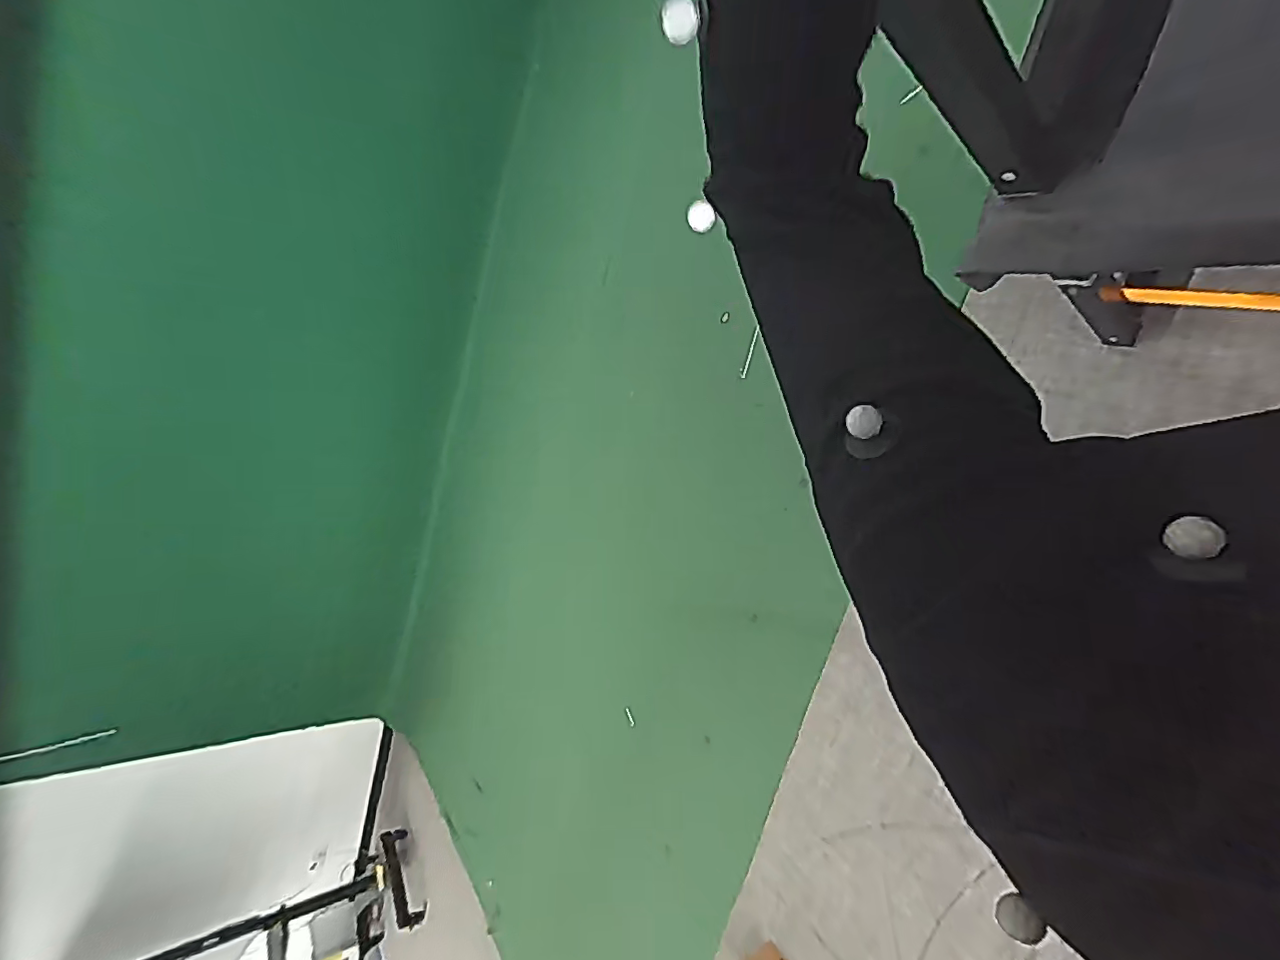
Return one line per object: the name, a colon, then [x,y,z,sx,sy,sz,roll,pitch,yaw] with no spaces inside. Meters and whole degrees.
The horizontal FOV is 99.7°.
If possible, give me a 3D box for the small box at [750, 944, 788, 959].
small box: [0.374,1.532,1.583,0.168,0.176,0.179,33,108,46]
